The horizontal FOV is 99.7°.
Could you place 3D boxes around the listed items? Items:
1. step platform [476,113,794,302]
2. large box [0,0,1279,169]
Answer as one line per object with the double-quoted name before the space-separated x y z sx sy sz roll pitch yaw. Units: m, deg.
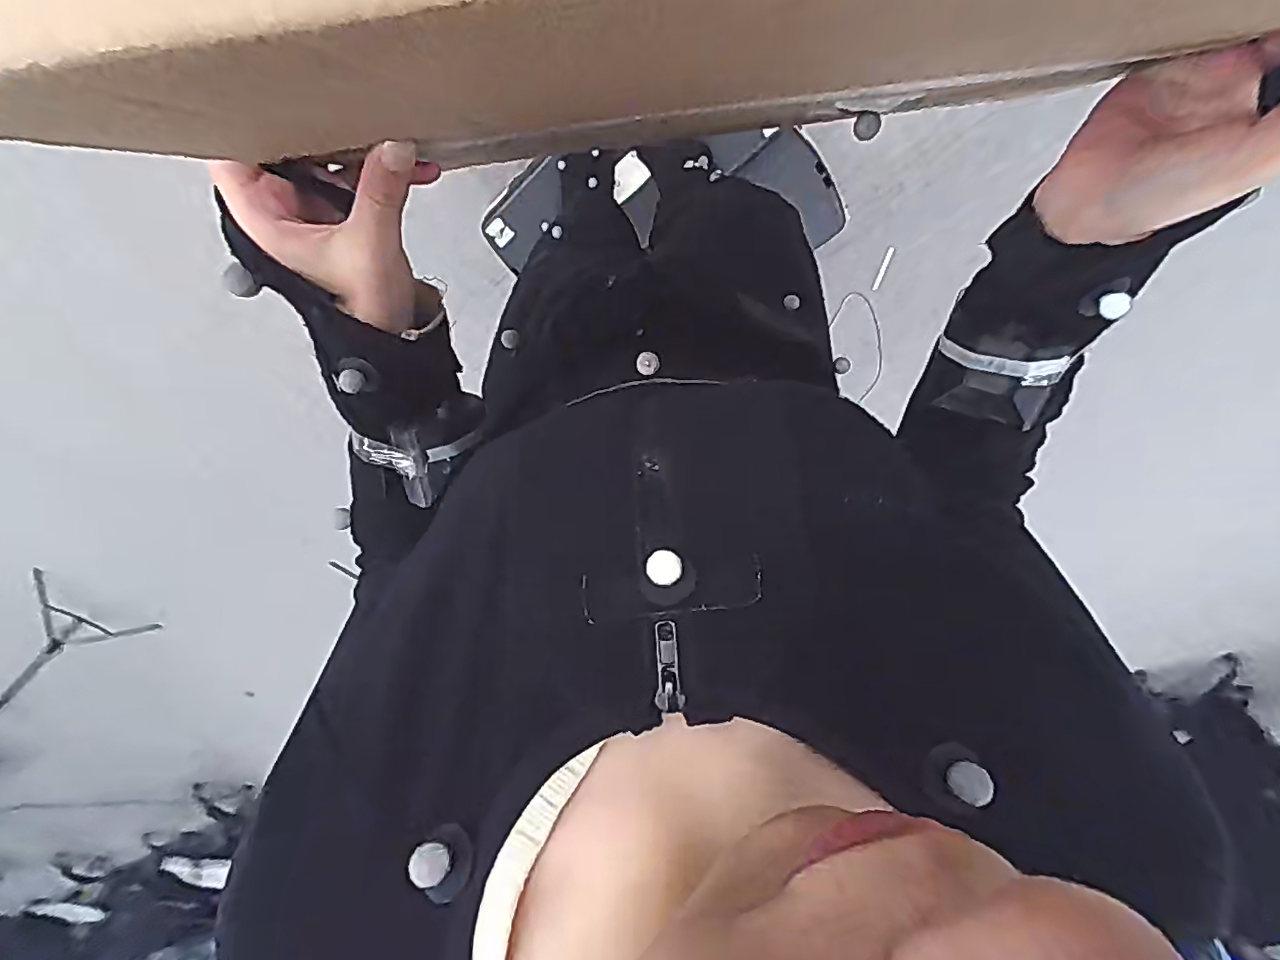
"step platform" -0.027 -0.690 1.162 0.684 0.204 0.286 -29 125 22
"large box" 0.012 -0.297 0.151 0.408 0.320 0.320 -4 118 6
